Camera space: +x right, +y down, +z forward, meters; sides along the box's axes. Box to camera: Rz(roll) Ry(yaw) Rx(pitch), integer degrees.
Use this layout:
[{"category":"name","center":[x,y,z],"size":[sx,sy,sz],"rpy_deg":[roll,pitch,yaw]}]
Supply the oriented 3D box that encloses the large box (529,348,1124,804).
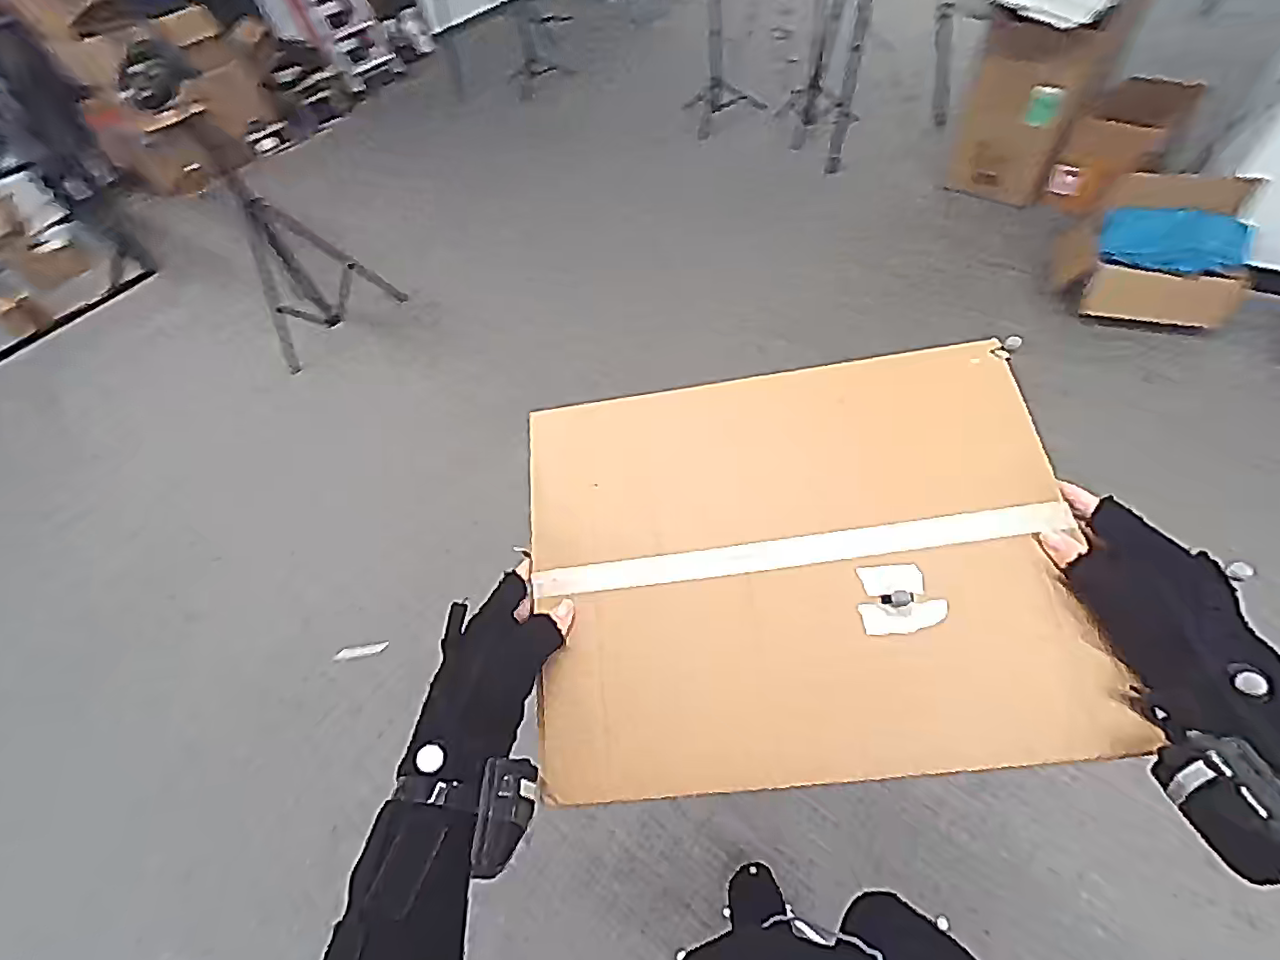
[{"category":"large box","center":[0.129,0.112,0.567],"size":[0.408,0.320,0.320],"rpy_deg":[-10,69,5]}]
